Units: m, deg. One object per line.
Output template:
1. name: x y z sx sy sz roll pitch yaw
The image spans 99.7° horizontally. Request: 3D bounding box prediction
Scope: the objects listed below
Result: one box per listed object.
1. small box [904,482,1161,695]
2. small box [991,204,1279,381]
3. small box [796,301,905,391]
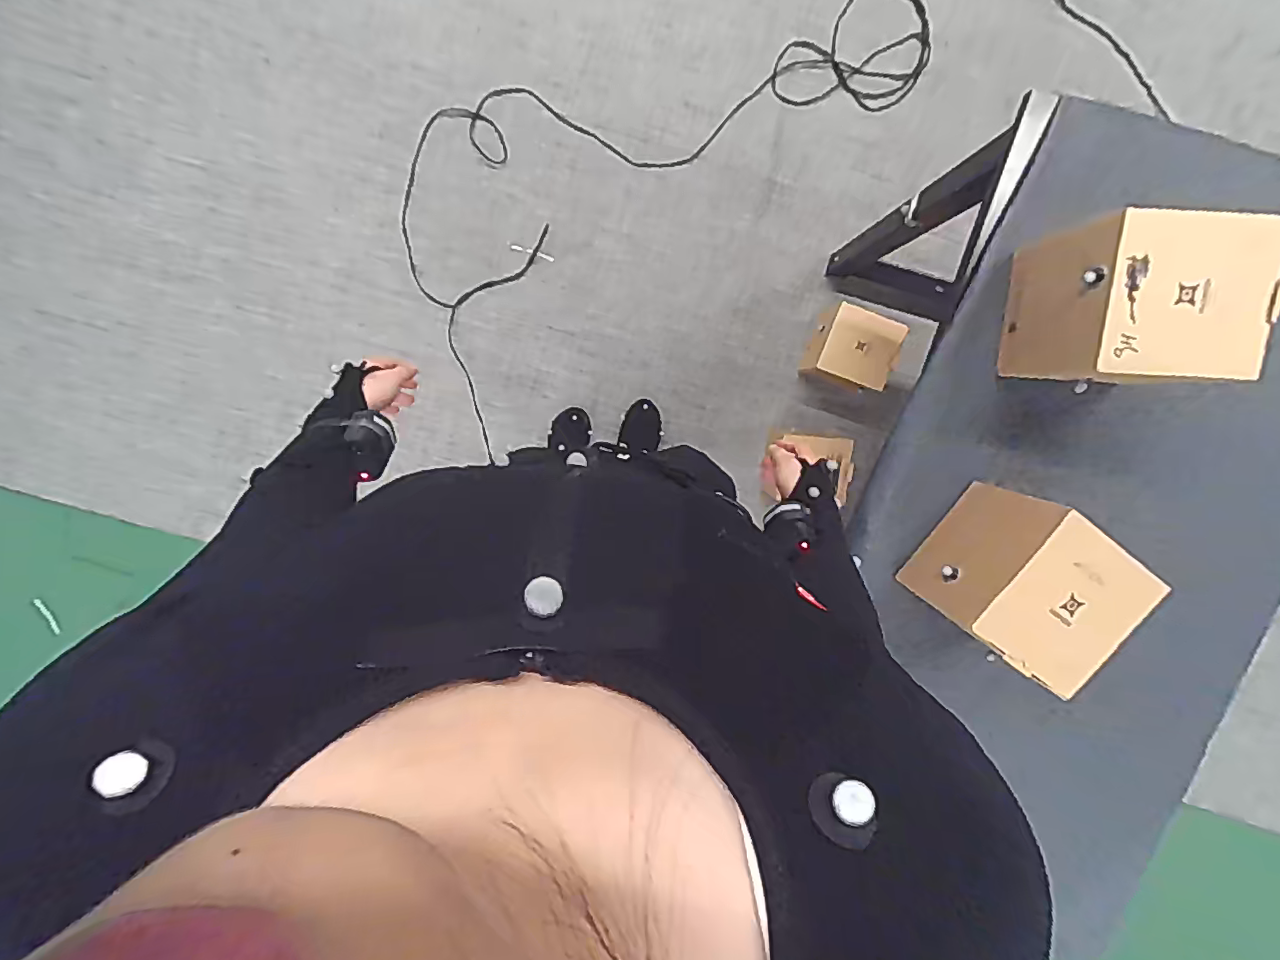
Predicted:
1. small box: 0.475 0.126 0.691 0.168 0.176 0.179 35 95 -9
2. small box: 0.565 -0.206 0.638 0.179 0.176 0.168 3 99 -1
3. small box: 0.516 -0.326 1.359 0.179 0.176 0.168 20 98 -4
